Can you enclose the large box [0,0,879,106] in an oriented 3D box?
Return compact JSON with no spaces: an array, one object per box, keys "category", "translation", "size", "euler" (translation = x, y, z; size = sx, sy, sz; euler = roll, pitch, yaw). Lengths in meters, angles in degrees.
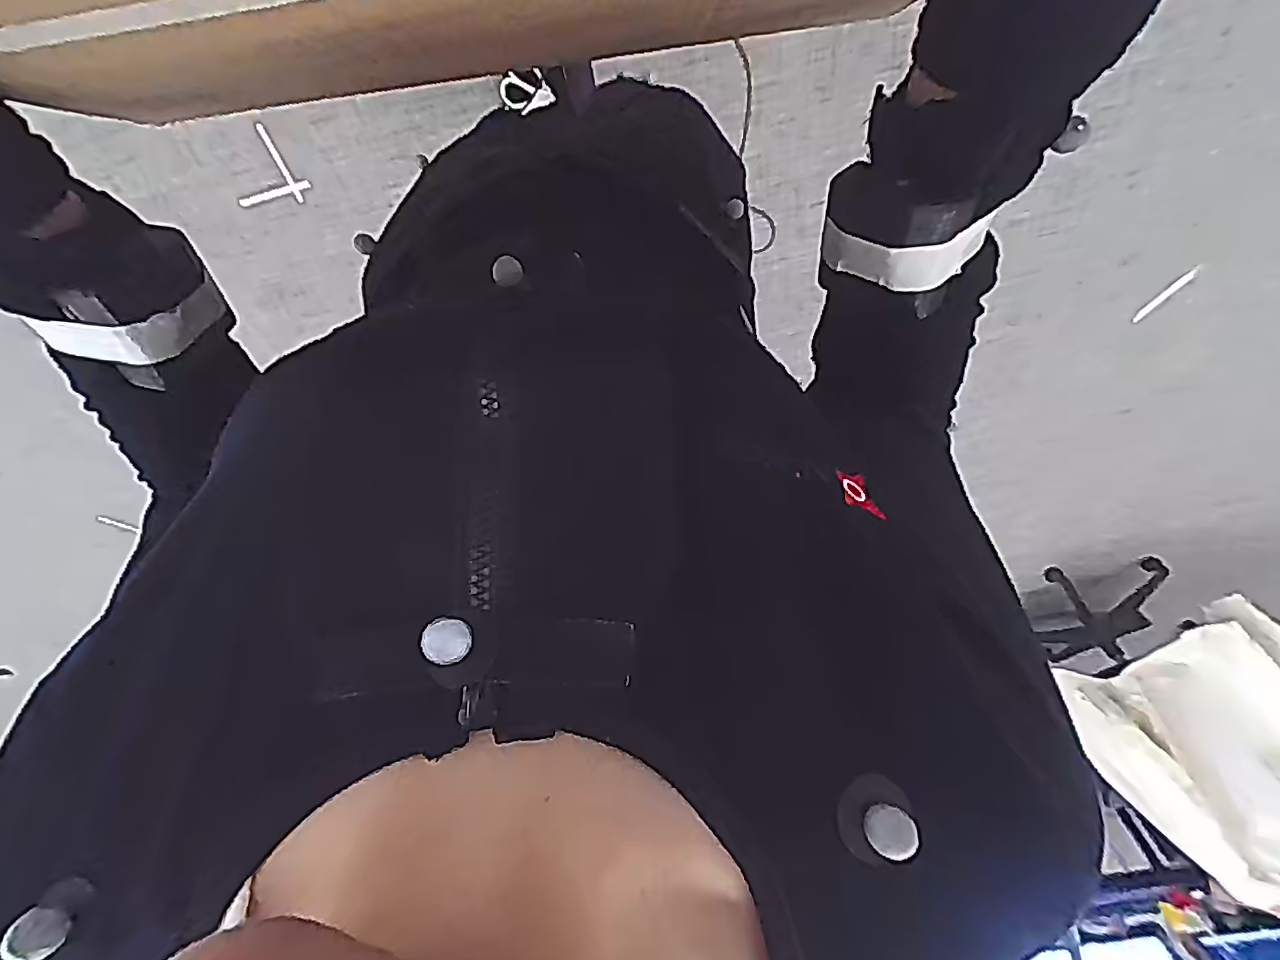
[{"category":"large box","translation":[-0.084,-0.299,0.091],"size":[0.408,0.320,0.320],"euler":[-7,117,2]}]
